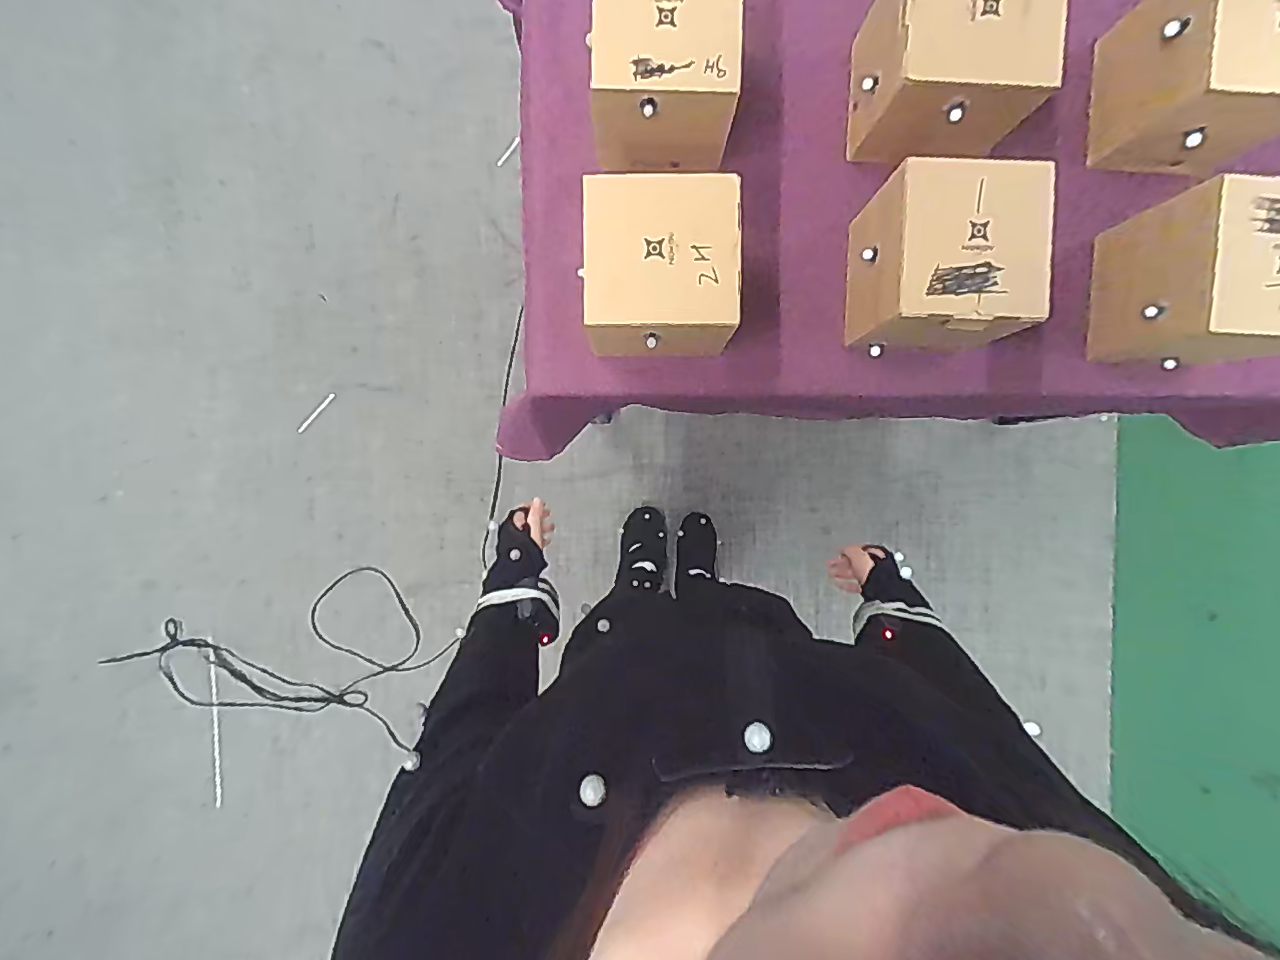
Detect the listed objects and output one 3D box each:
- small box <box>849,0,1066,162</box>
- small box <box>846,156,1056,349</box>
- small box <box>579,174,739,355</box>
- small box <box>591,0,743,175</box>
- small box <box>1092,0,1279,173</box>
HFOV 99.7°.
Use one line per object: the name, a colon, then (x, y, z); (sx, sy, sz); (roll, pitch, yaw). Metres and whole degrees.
small box: (0.375, -0.515, 0.666); (0.179, 0.176, 0.168); (4, 92, 0)
small box: (0.368, -0.266, 0.670); (0.168, 0.176, 0.179); (2, 90, 0)
small box: (0.022, -0.254, 0.673); (0.179, 0.176, 0.168); (0, 91, 0)
small box: (0.030, -0.512, 0.668); (0.168, 0.176, 0.179); (1, 91, 0)
small box: (0.703, -0.507, 0.662); (0.168, 0.176, 0.179); (4, 91, 1)
